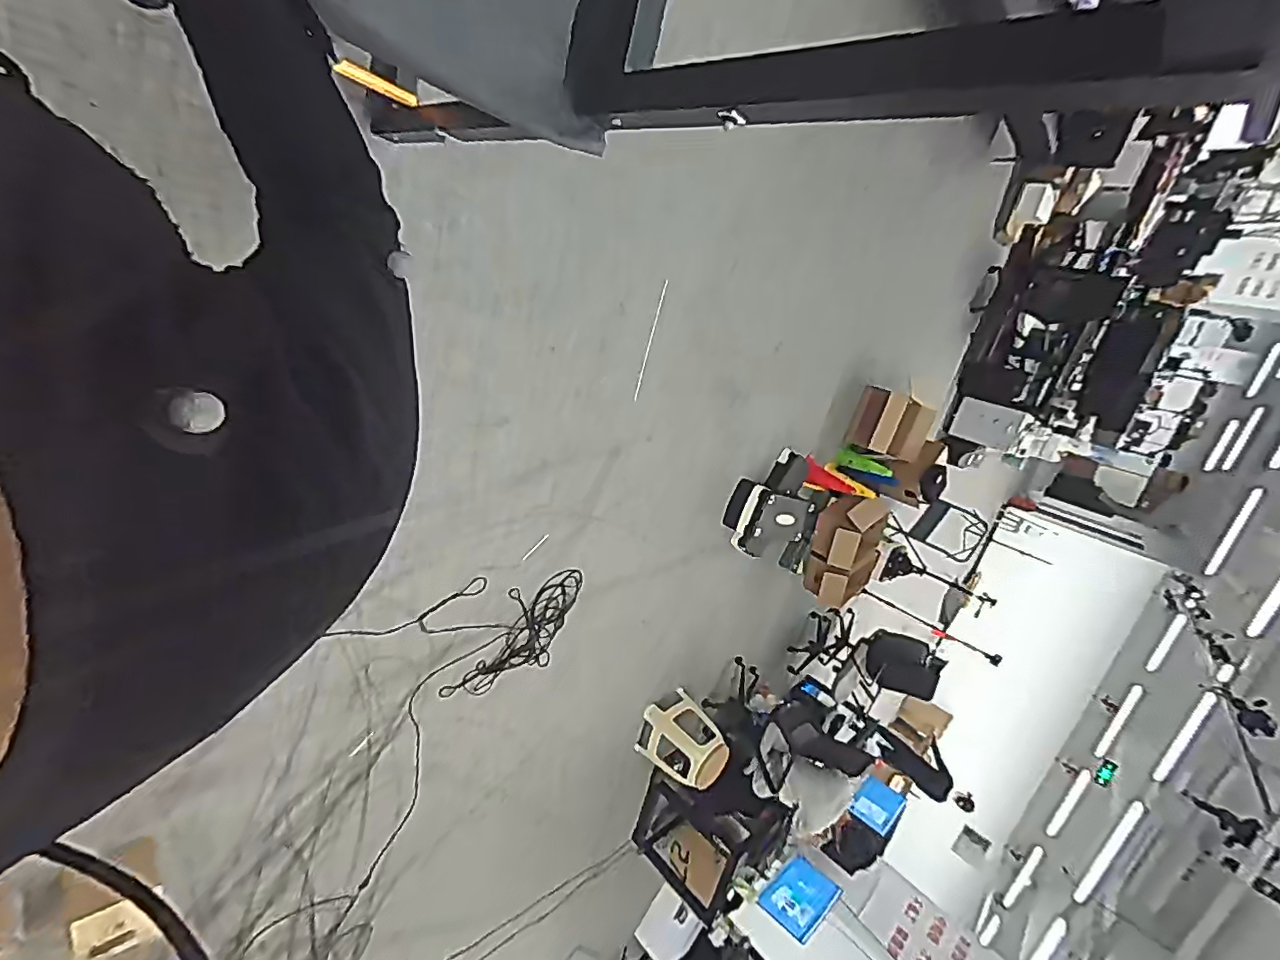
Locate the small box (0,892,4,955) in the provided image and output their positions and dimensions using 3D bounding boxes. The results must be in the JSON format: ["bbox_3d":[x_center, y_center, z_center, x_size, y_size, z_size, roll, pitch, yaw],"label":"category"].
[{"bbox_3d":[-1.536,1.049,1.171,0.179,0.176,0.168,21,95,-50],"label":"small box"}]
